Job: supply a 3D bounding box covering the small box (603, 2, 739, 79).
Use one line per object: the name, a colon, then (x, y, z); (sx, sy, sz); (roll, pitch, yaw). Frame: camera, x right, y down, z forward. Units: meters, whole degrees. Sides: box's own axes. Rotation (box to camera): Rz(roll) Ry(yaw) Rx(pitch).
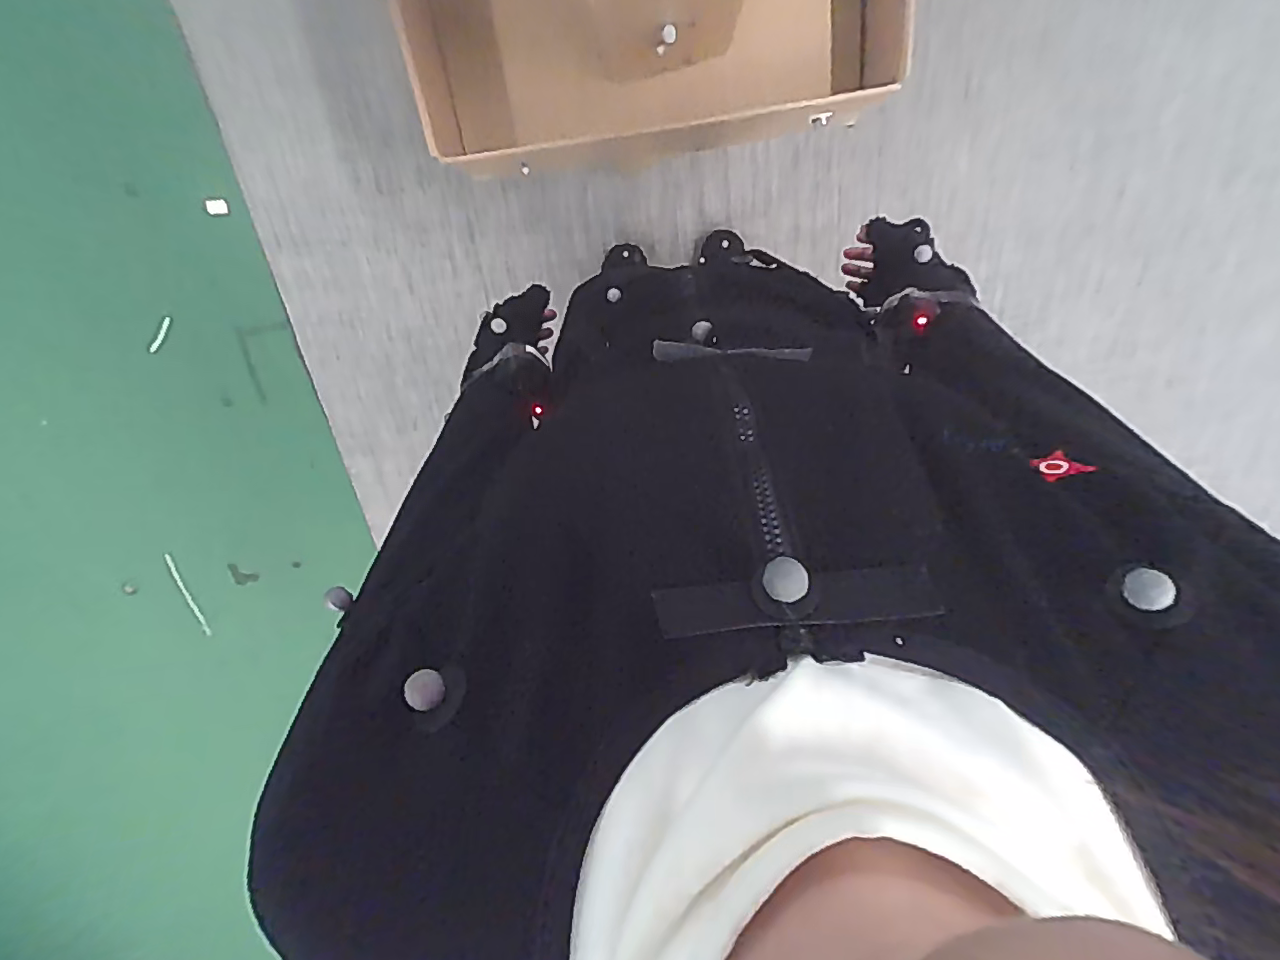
small box: (0.023, -0.642, 0.673); (0.168, 0.176, 0.179); (-10, 113, 9)
